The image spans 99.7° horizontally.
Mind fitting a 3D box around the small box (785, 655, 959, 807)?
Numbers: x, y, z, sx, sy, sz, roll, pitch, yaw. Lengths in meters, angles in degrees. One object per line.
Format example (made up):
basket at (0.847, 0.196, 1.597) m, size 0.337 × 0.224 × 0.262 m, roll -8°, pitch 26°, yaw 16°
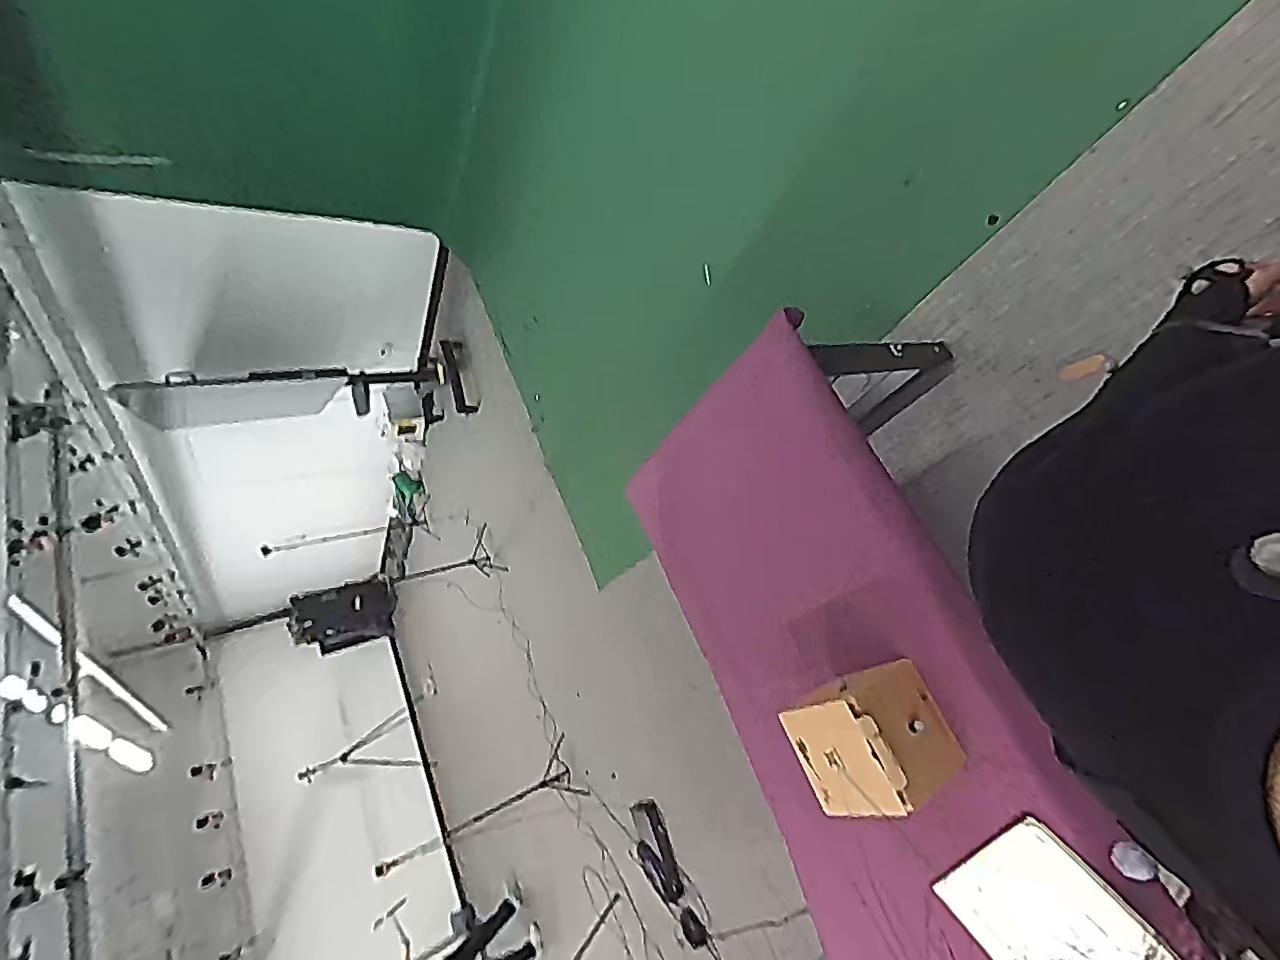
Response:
small box at (0.382, 0.404, 0.882) m, size 0.179 × 0.176 × 0.168 m, roll -47°, pitch 61°, yaw 48°
